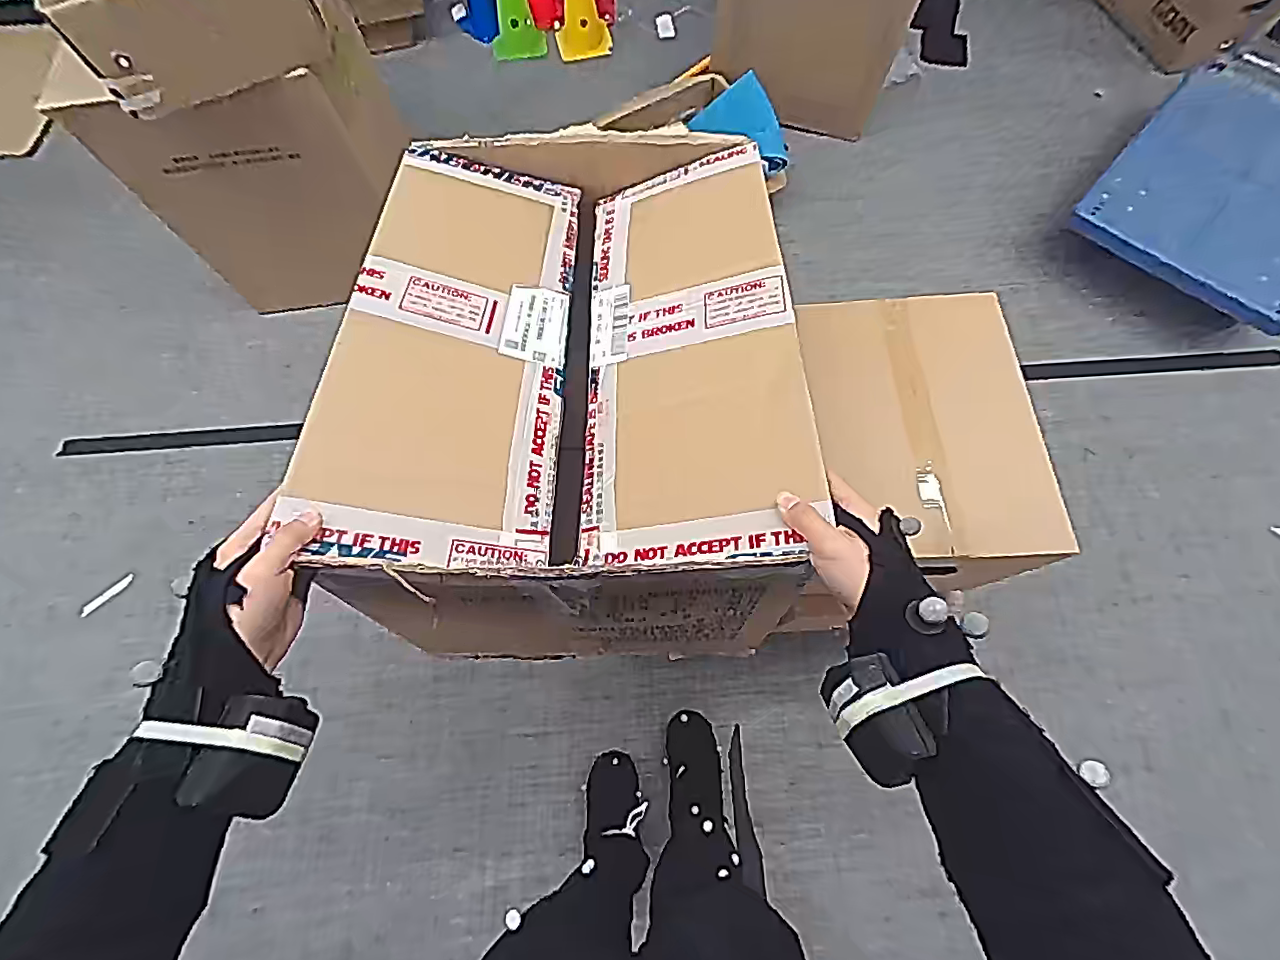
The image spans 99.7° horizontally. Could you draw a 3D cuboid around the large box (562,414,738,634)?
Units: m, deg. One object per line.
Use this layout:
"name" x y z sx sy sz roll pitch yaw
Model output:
"large box" 0.012 0.111 1.188 0.320 0.320 0.408 -5 70 0
